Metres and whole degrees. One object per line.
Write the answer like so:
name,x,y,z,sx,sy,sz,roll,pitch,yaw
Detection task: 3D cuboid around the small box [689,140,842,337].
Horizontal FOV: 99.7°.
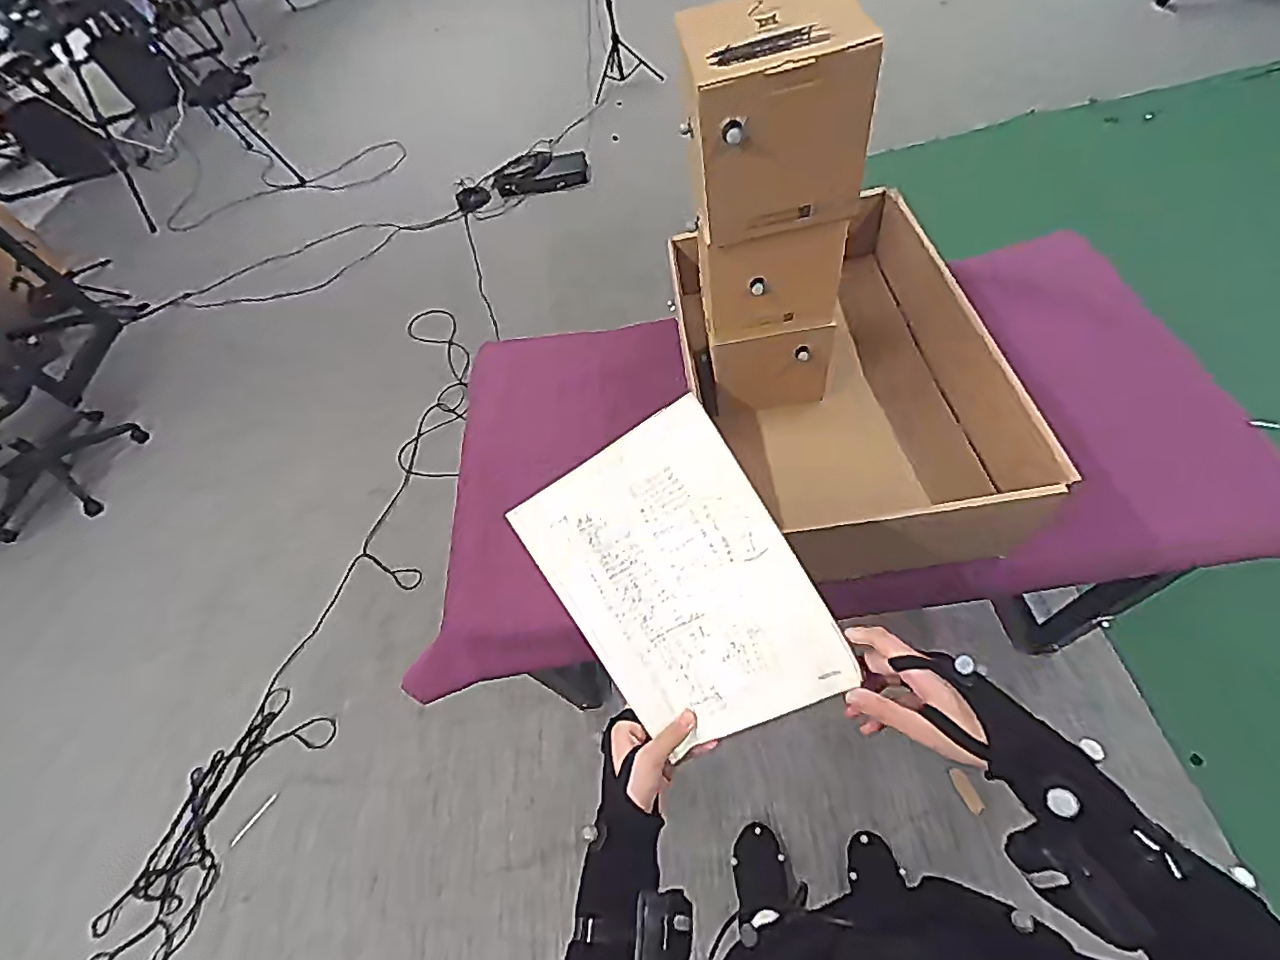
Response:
small box,0.164,-0.314,0.734,0.168,0.176,0.179,-9,57,8
